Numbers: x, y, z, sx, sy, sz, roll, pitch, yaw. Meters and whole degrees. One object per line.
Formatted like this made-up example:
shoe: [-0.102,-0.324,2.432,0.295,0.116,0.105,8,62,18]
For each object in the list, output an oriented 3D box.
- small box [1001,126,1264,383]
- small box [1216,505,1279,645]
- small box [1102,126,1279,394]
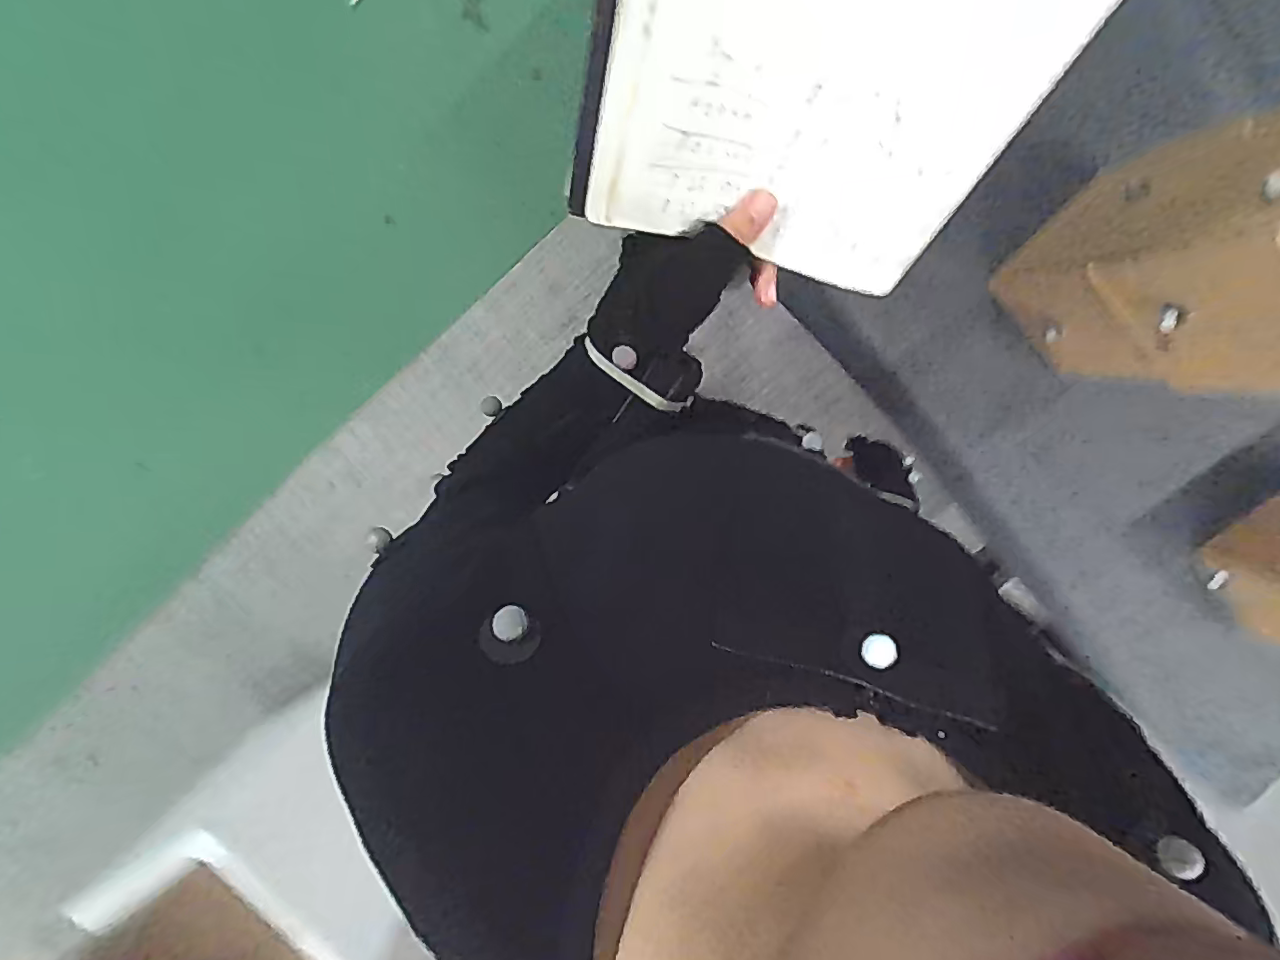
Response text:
small box: [0.558,-0.229,0.596,0.168,0.176,0.179,44,100,-8]
small box: [0.893,0.130,0.672,0.179,0.176,0.168,-40,99,9]
small box: [0.551,-0.186,0.439,0.179,0.176,0.168,-44,99,9]
